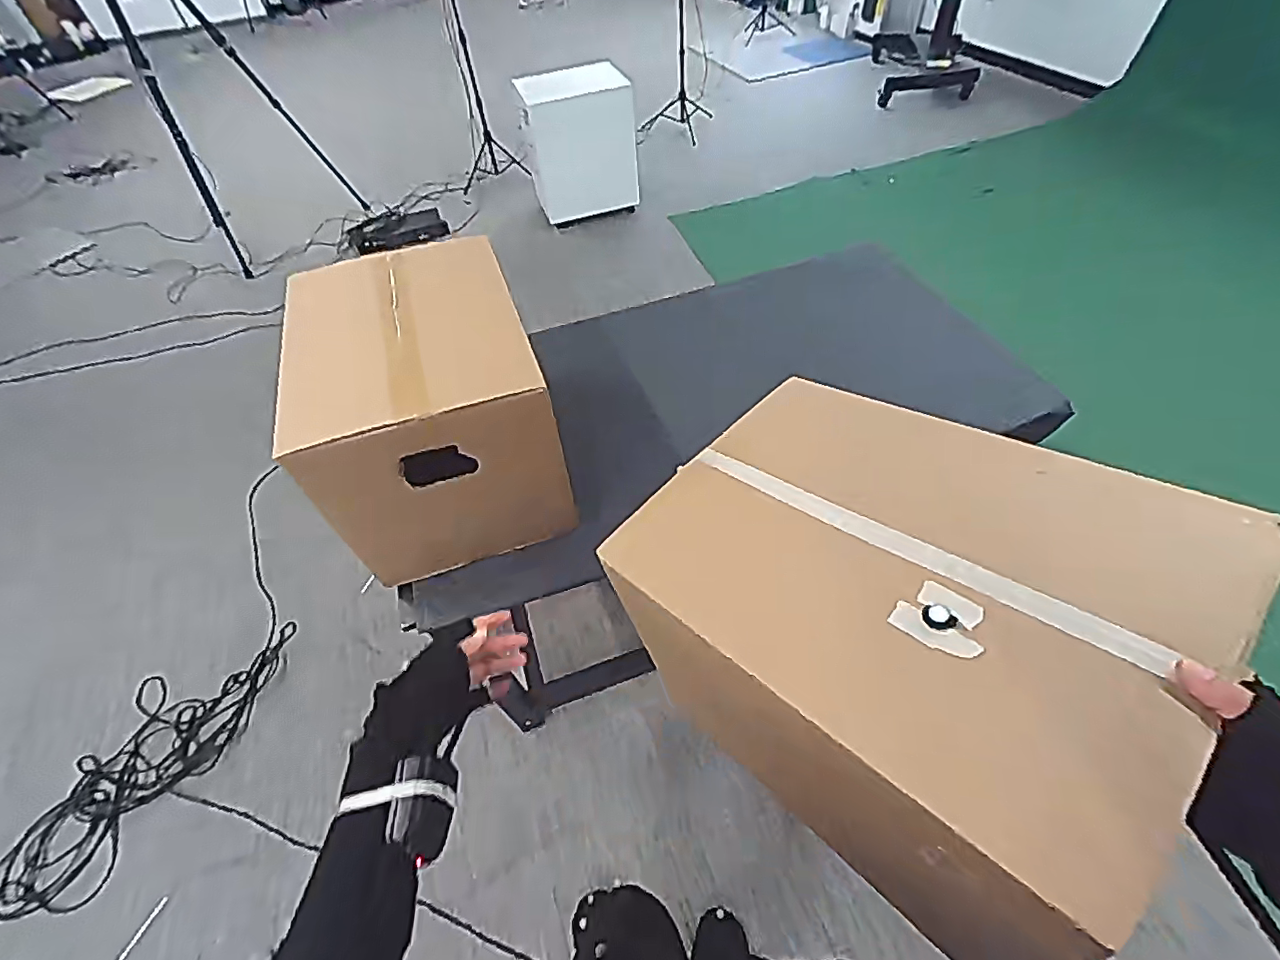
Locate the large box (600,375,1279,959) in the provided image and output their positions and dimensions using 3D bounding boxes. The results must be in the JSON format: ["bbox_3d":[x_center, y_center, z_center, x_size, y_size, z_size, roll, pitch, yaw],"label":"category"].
[{"bbox_3d":[0.233,0.147,0.535,0.320,0.320,0.408,-41,45,-20],"label":"large box"}]
